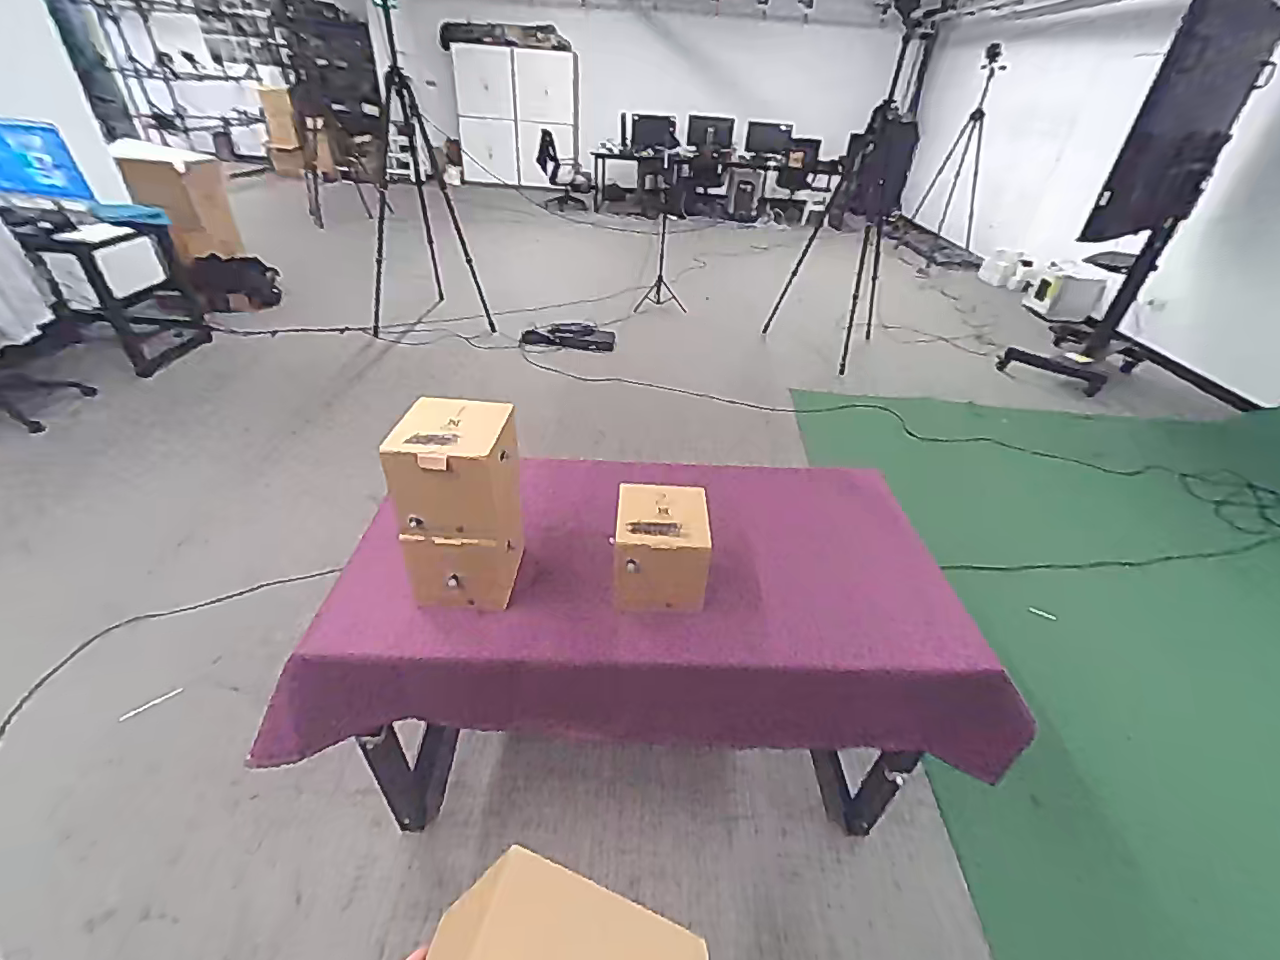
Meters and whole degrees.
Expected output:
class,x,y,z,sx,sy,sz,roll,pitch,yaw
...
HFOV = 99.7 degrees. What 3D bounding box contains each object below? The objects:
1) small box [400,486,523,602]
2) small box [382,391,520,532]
class,x,y,z,sx,sy,sz,roll,pitch,yaw
small box,-0.317,0.106,1.004,0.168,0.176,0.179,5,37,-1
small box,-0.302,-0.031,0.912,0.168,0.176,0.179,5,35,0
